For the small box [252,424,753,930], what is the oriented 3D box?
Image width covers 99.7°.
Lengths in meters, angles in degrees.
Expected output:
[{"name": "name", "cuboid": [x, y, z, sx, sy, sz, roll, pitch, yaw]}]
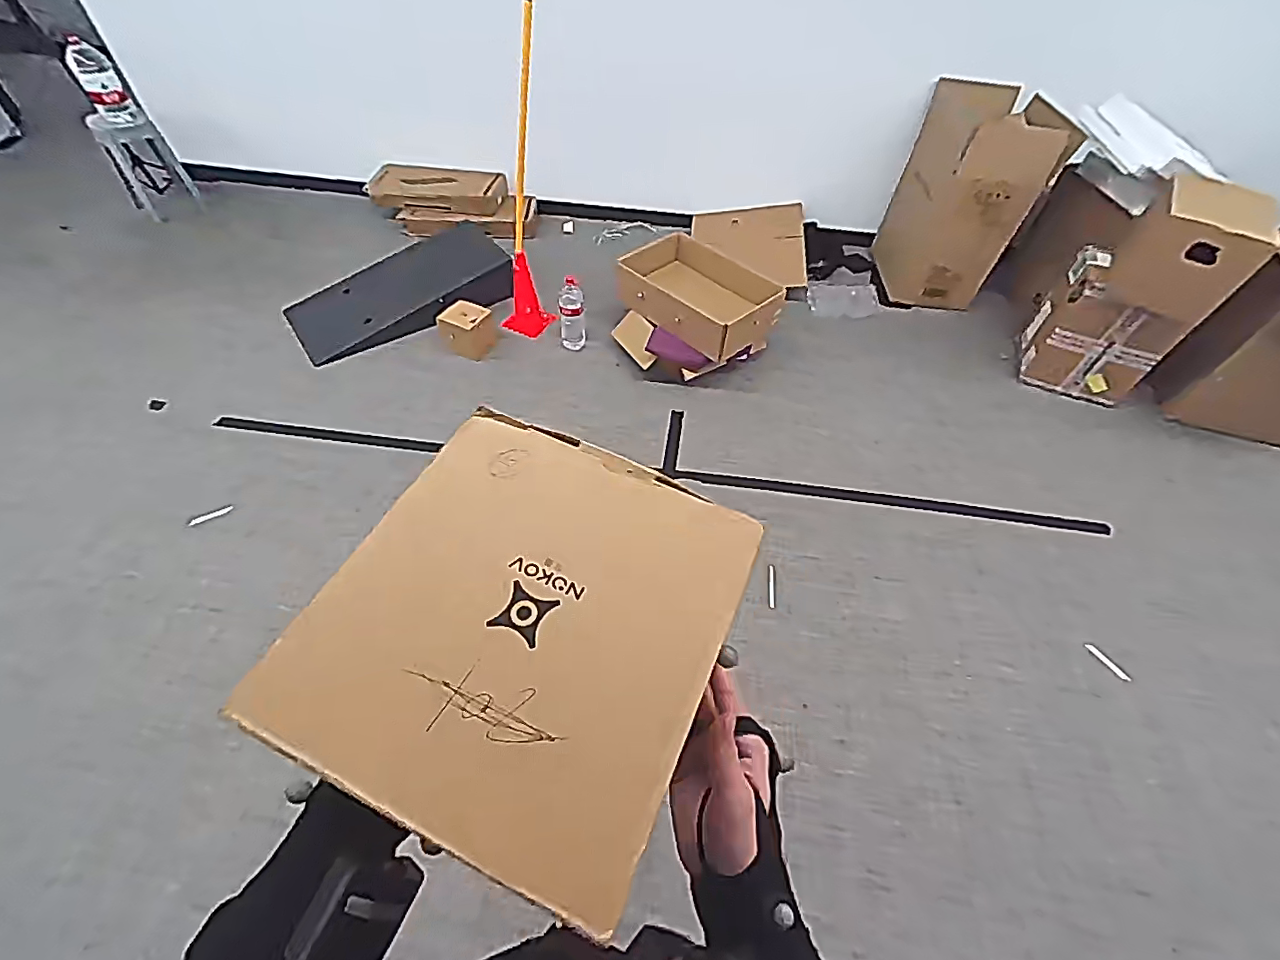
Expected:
[{"name": "small box", "cuboid": [-0.054, 0.106, 0.311, 0.168, 0.176, 0.179, 22, 58, 10]}]
